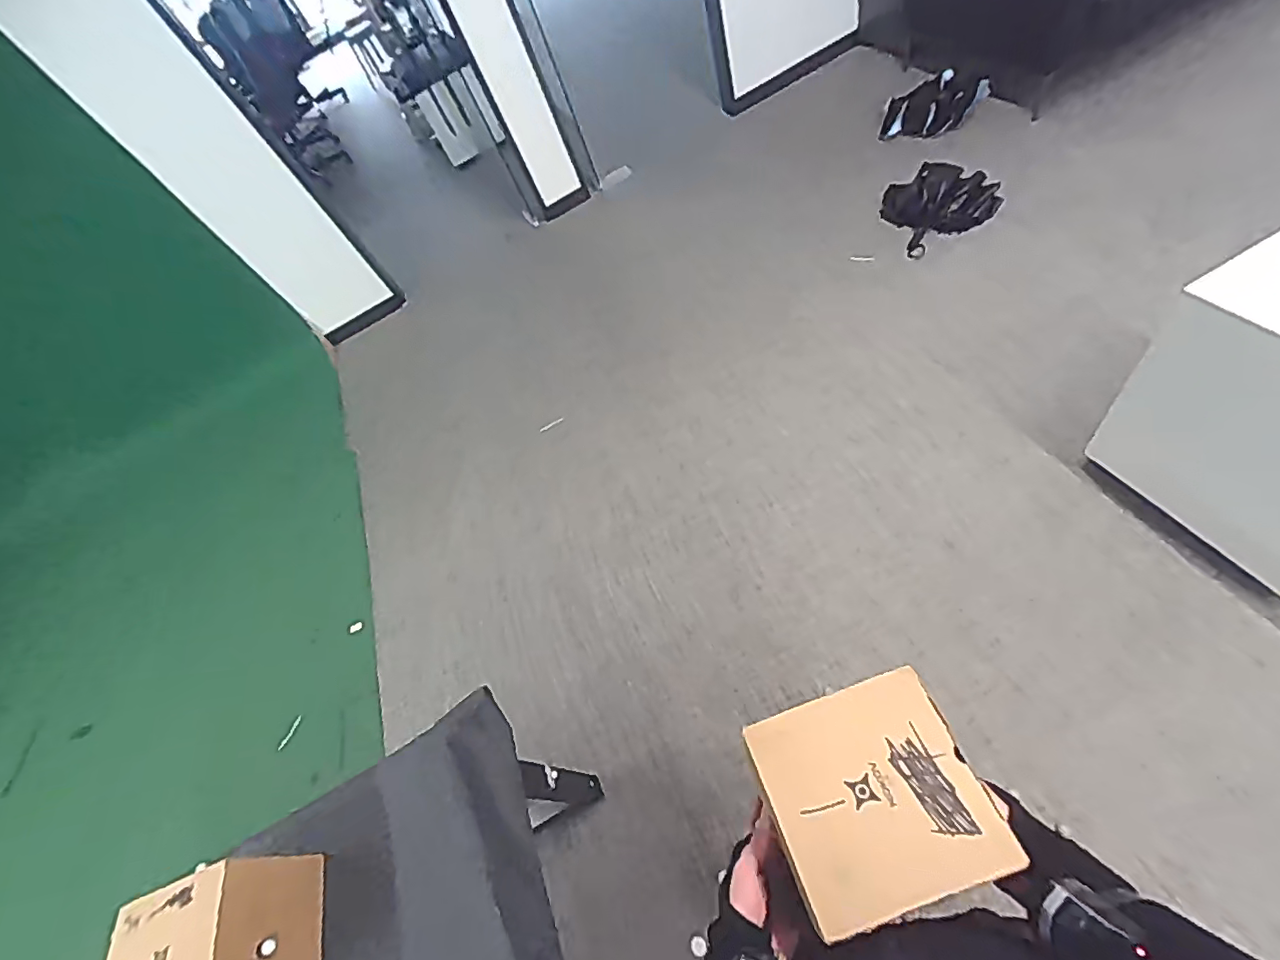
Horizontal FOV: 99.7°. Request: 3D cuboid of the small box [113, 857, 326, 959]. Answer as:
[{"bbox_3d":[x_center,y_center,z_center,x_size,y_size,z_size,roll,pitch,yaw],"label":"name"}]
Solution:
[{"bbox_3d":[-0.545,0.627,0.712,0.168,0.176,0.179,-25,54,3],"label":"small box"}]
